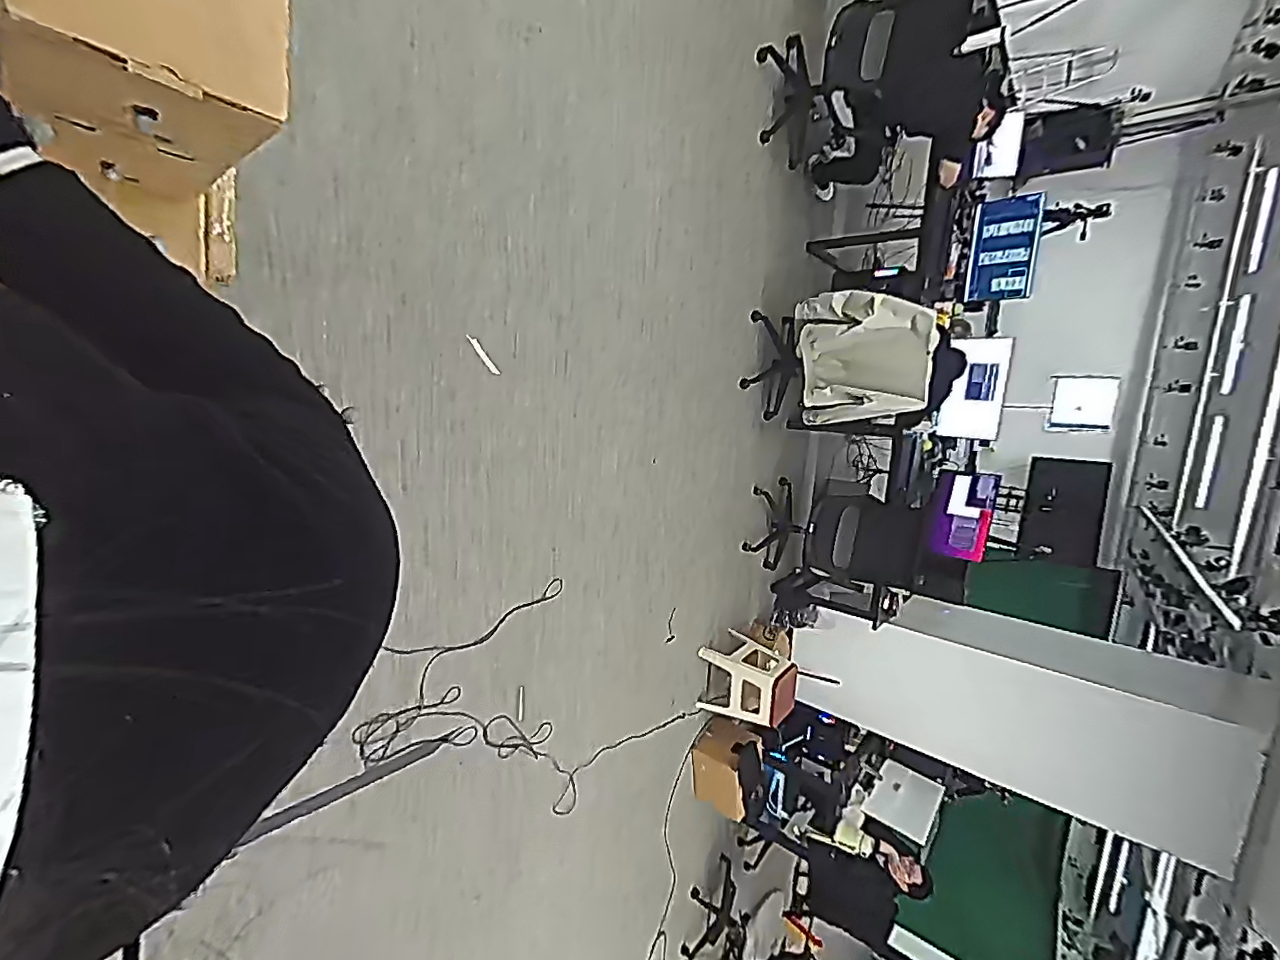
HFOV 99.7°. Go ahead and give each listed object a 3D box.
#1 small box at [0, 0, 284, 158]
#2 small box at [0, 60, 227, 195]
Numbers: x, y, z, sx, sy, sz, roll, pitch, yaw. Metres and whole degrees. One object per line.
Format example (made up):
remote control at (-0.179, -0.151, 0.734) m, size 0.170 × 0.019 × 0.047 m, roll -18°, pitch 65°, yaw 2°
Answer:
small box at (-0.425, -0.409, 0.461) m, size 0.168 × 0.176 × 0.179 m, roll -3°, pitch 101°, yaw -50°
small box at (-0.554, -0.427, 0.562) m, size 0.168 × 0.176 × 0.179 m, roll -5°, pitch 102°, yaw -50°
